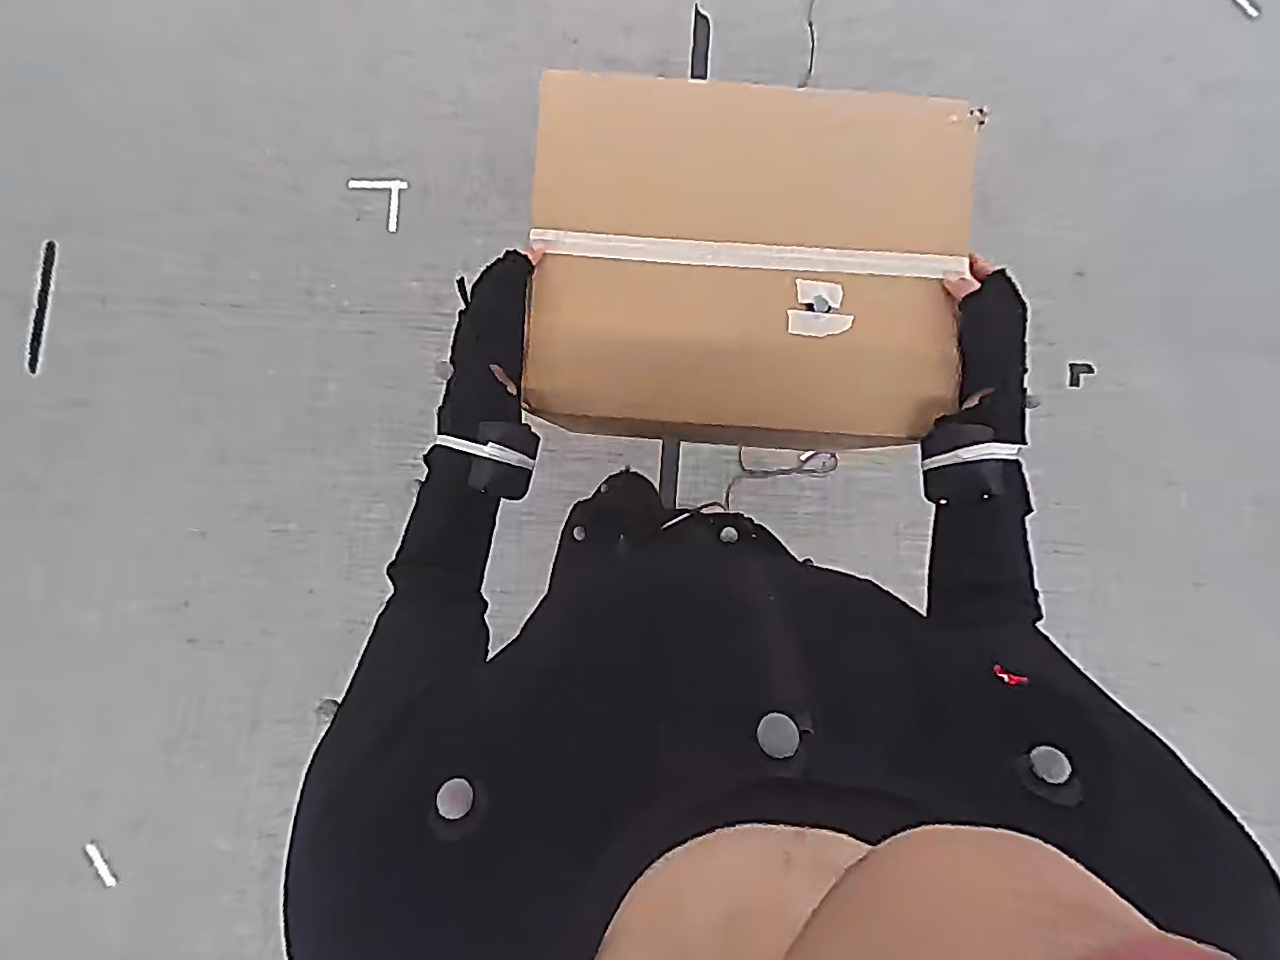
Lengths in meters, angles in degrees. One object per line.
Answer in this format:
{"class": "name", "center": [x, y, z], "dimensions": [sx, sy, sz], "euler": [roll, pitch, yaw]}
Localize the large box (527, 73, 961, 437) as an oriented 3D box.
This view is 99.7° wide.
{"class": "large box", "center": [0.095, -0.223, 0.660], "dimensions": [0.408, 0.320, 0.320], "euler": [4, 93, -1]}
